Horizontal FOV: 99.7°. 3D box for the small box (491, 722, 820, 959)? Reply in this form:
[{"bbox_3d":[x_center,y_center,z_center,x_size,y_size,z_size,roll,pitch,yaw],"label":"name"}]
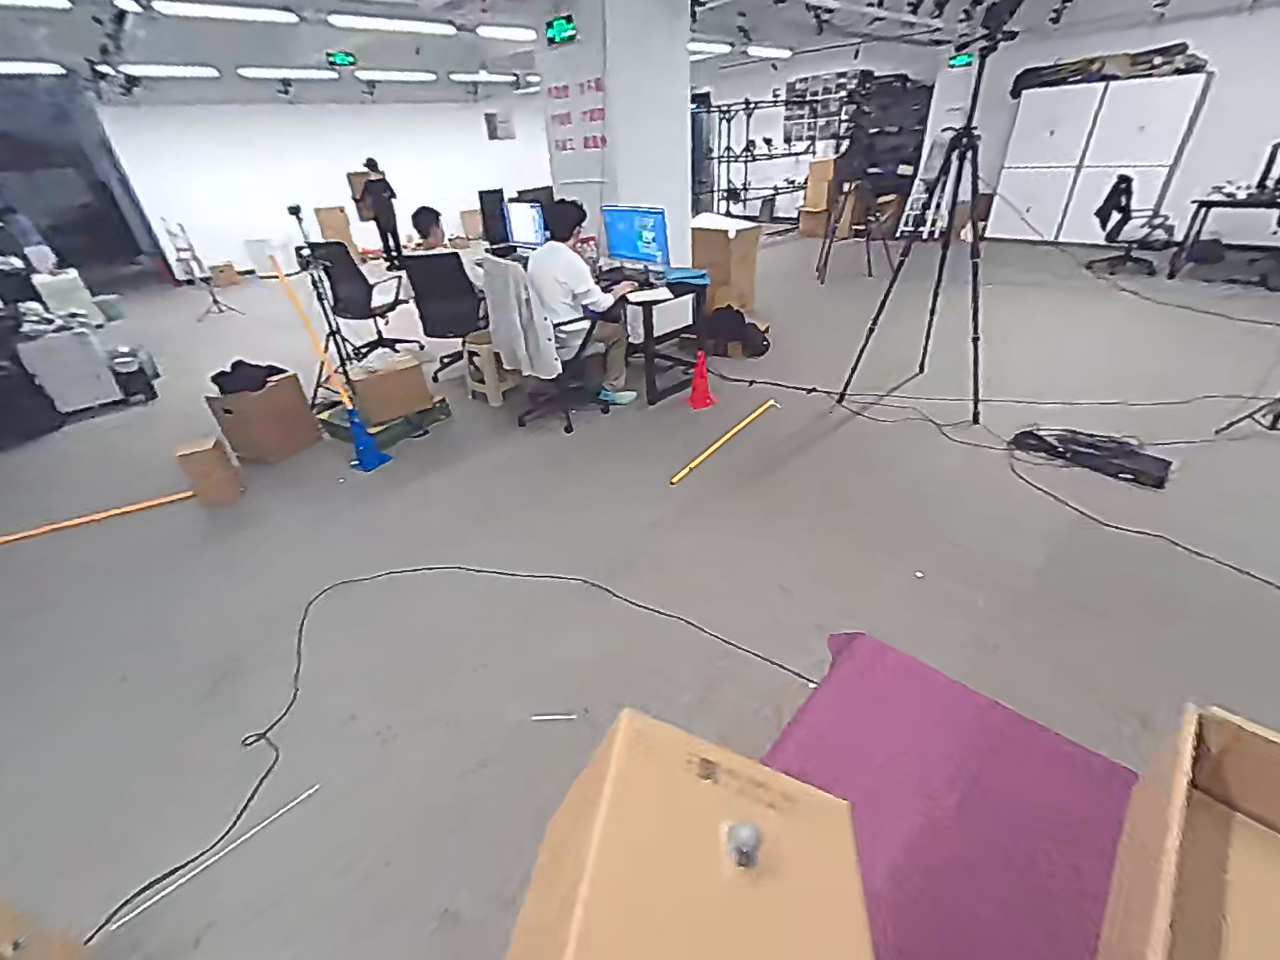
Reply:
[{"bbox_3d":[0.004,0.295,0.342,0.168,0.179,0.176,23,30,-3],"label":"small box"}]
